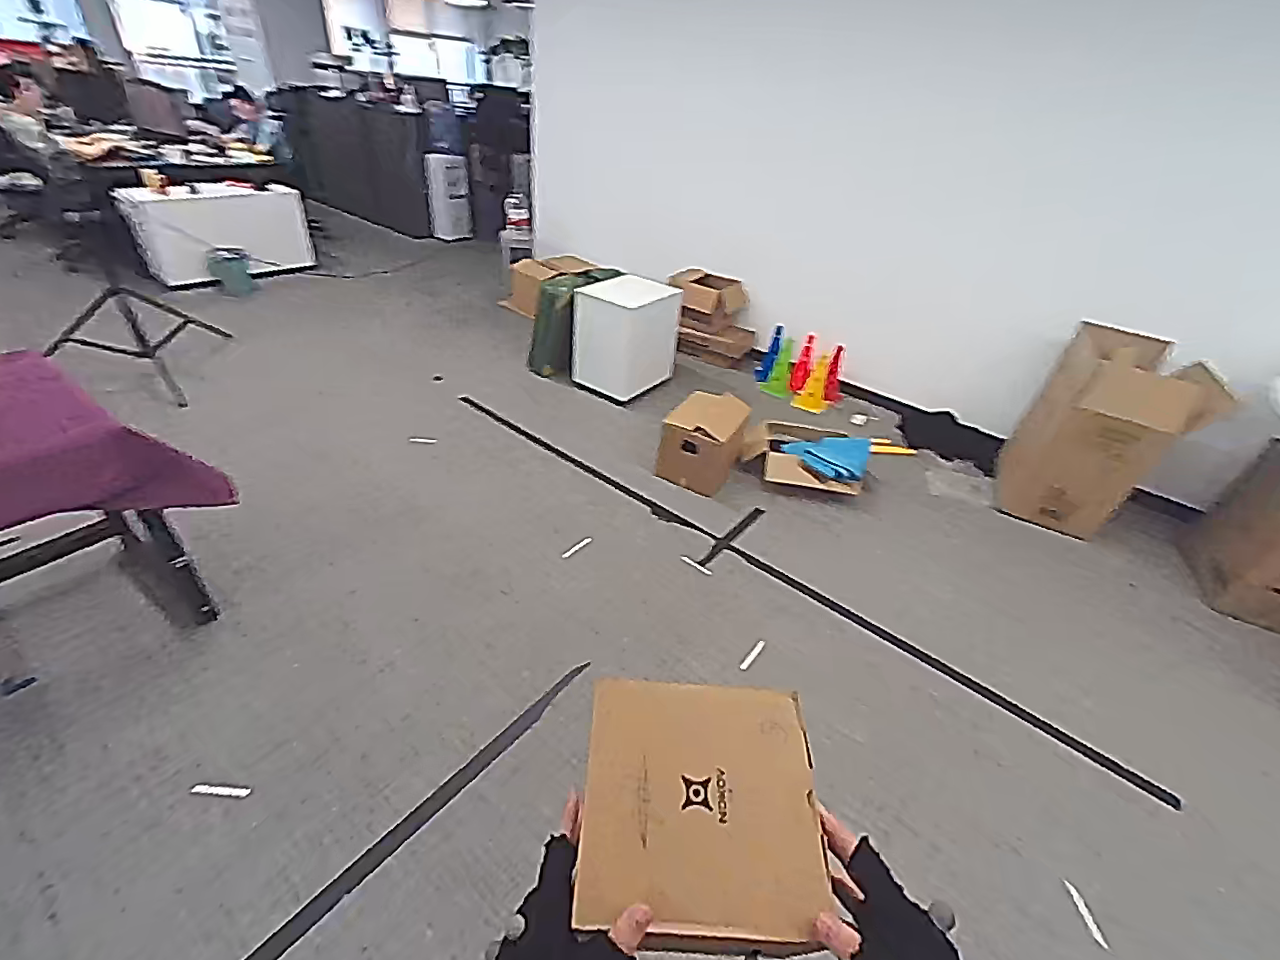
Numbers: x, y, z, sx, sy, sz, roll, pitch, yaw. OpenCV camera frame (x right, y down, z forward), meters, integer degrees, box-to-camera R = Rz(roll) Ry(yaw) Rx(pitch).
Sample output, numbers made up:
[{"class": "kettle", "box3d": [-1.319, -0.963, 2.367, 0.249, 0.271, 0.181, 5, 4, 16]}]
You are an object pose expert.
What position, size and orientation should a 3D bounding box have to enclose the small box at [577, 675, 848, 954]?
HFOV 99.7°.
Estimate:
[{"class": "small box", "box3d": [0.044, 0.280, 0.452, 0.179, 0.176, 0.168, 2, 46, -1]}]
